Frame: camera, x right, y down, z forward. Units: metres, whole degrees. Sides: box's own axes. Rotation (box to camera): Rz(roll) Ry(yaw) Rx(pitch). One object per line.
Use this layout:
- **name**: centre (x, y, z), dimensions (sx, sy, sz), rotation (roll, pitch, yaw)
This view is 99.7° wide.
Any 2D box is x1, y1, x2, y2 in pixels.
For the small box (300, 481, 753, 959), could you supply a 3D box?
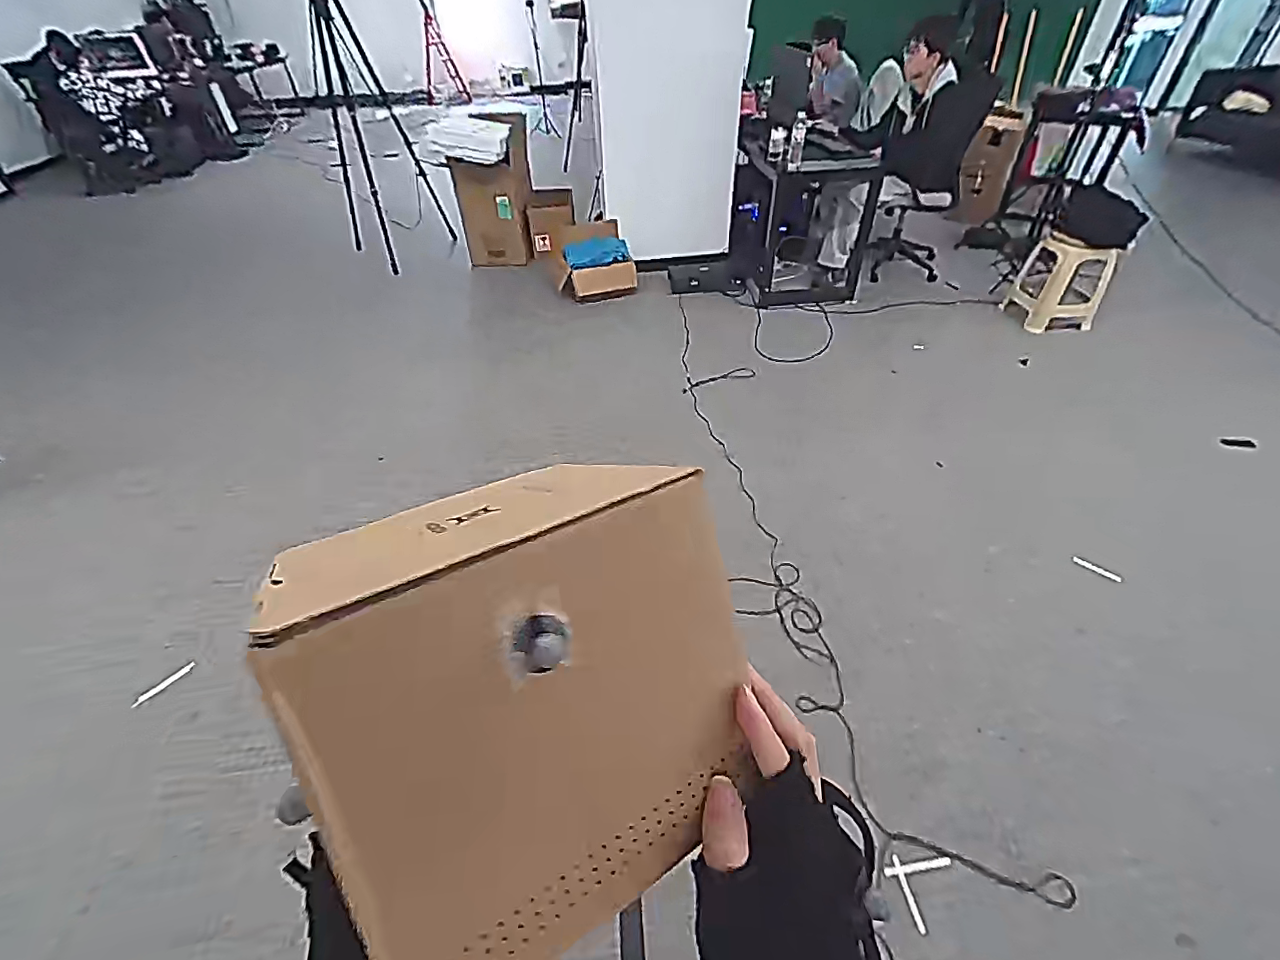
- **small box**: centre (-0.061, 0.106, 0.299), dimensions (0.179, 0.176, 0.168), rotation (-20, 12, -30)
